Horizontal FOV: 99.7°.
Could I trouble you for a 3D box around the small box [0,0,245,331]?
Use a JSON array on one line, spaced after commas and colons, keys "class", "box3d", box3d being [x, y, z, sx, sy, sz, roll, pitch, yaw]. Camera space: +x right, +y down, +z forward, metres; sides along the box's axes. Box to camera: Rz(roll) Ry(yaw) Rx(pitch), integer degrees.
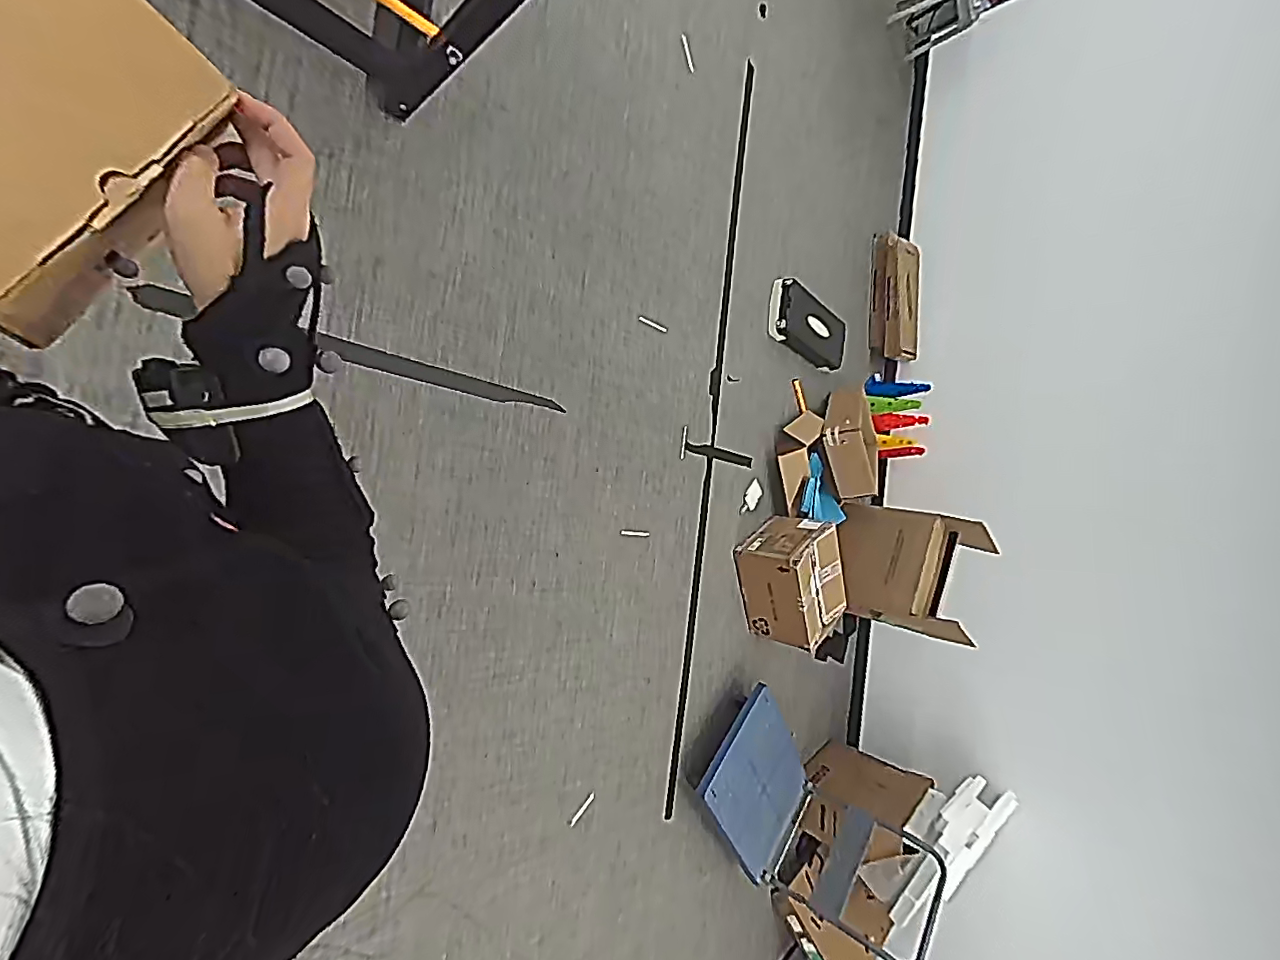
[{"class": "small box", "box3d": [-0.356, -0.195, 0.274, 0.179, 0.176, 0.168, 44, 66, -39]}]
